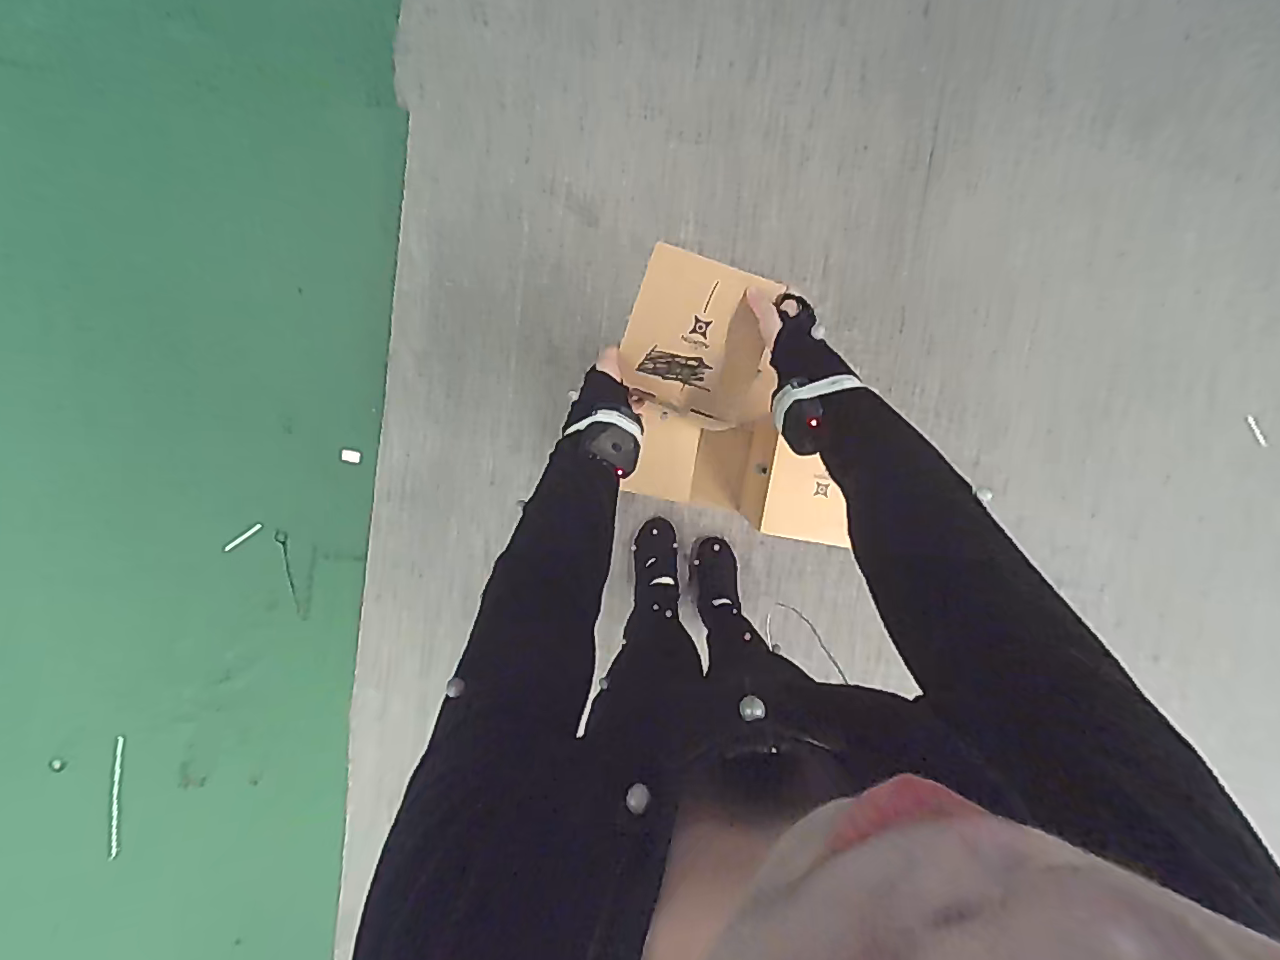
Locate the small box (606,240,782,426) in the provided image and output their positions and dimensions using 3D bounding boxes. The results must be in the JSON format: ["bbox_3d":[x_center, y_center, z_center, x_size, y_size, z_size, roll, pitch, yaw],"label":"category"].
[{"bbox_3d":[0.066,-0.179,0.718,0.168,0.176,0.179,20,93,0],"label":"small box"}]

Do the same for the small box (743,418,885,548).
[{"bbox_3d":[0.275,-0.001,0.895,0.168,0.176,0.179,10,94,0],"label":"small box"}]
